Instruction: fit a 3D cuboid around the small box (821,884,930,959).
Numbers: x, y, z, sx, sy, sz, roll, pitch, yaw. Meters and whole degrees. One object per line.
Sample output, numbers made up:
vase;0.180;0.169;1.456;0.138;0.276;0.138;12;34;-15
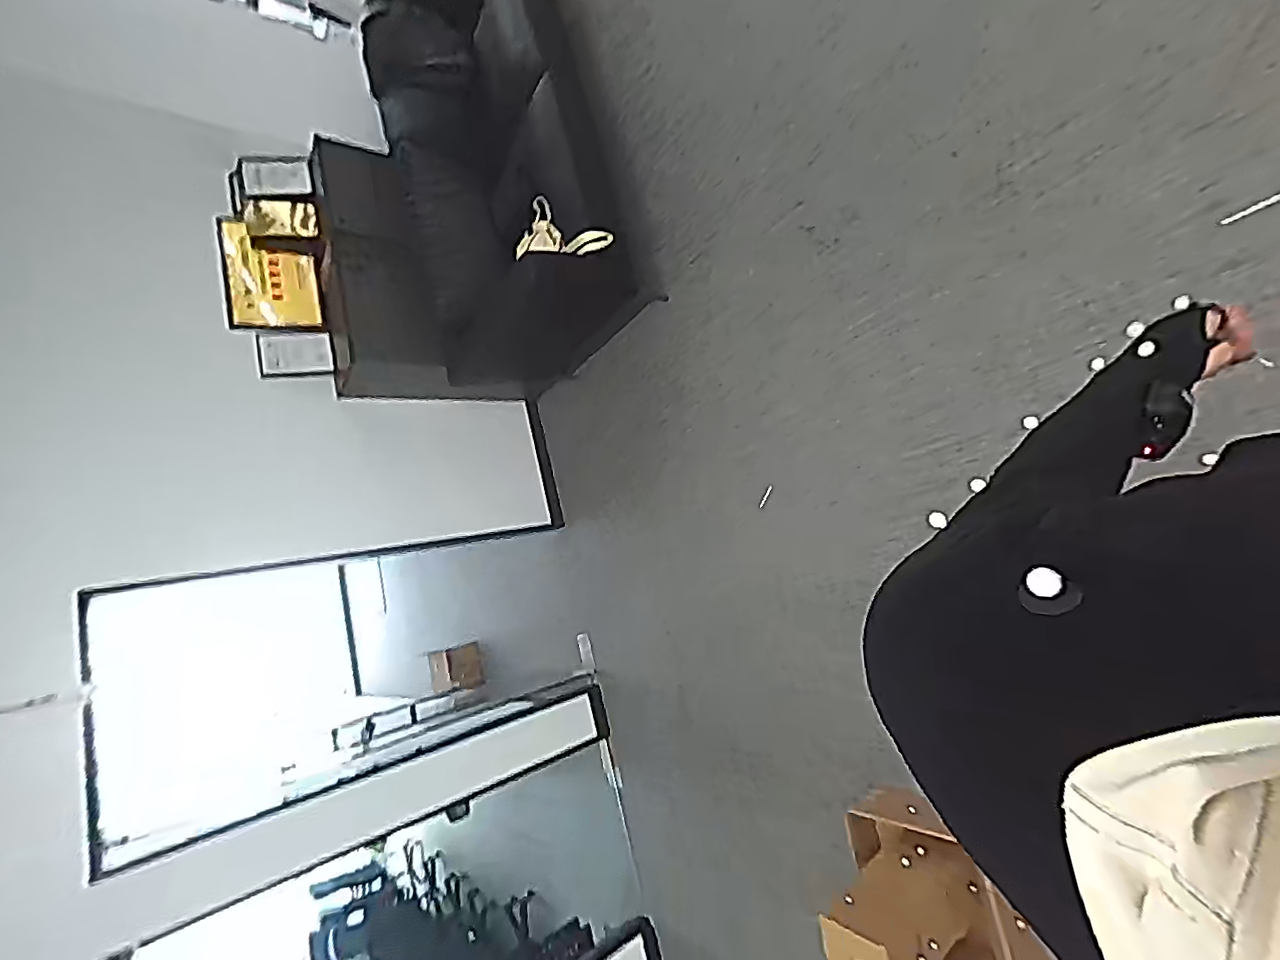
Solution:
small box;0.576;1.136;1.319;0.179;0.176;0.168;-15;82;51

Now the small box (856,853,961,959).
small box;0.704;1.125;1.421;0.179;0.176;0.168;-16;81;52

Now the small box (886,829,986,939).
small box;0.832;1.122;1.522;0.179;0.176;0.168;-19;79;51
